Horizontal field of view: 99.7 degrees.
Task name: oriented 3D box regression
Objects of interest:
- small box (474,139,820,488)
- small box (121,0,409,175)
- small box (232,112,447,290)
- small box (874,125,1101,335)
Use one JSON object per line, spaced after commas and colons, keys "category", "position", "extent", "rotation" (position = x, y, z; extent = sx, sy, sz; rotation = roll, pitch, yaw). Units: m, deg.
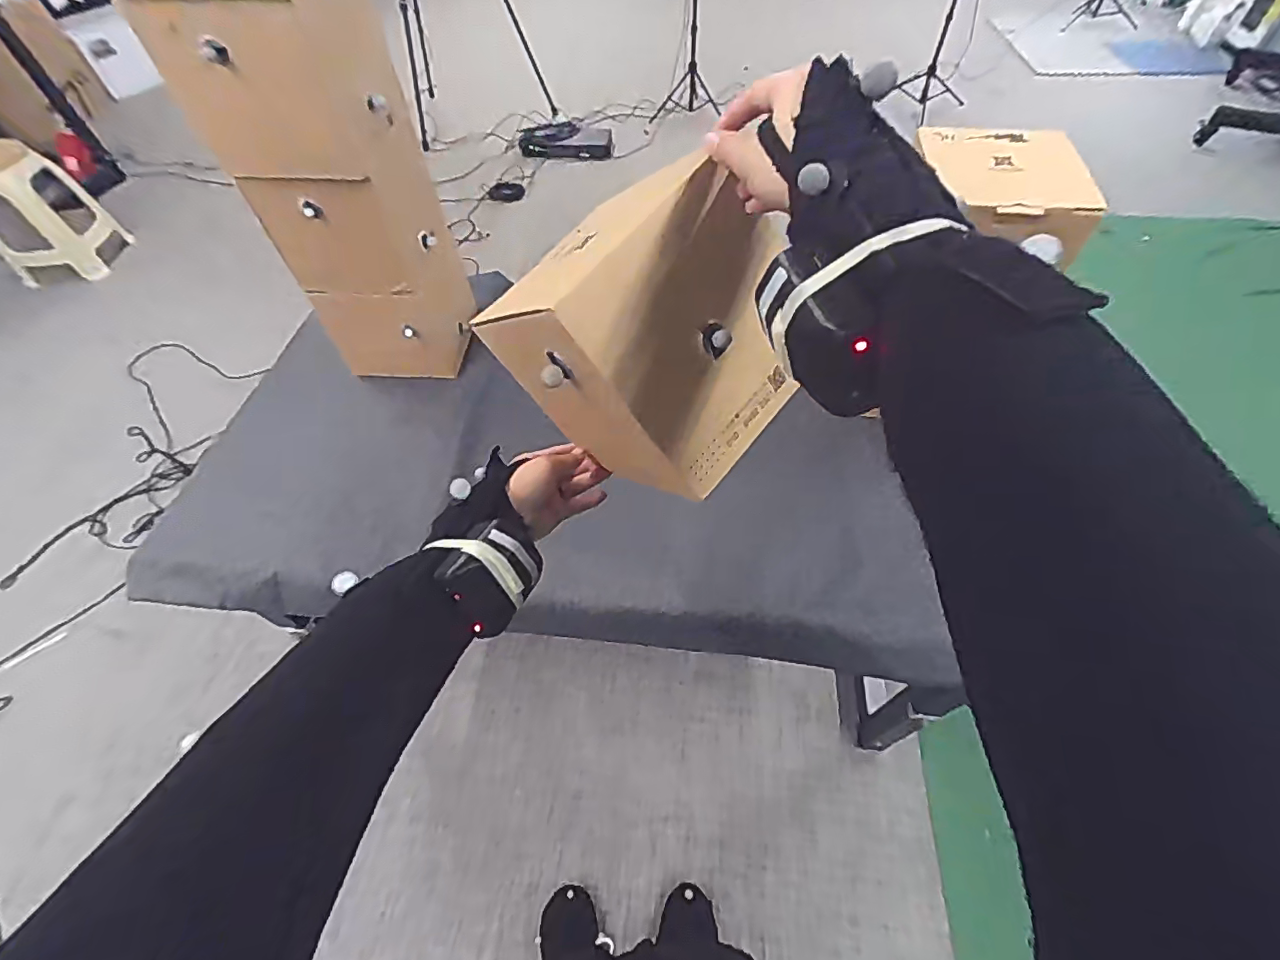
{"category": "small box", "position": [0.007, -0.114, 0.424], "extent": [0.168, 0.176, 0.179], "rotation": [-48, 30, -14]}
{"category": "small box", "position": [-0.395, -0.467, 0.606], "extent": [0.179, 0.176, 0.168], "rotation": [4, 57, 3]}
{"category": "small box", "position": [-0.393, -0.382, 0.747], "extent": [0.179, 0.176, 0.168], "rotation": [2, 57, 2]}
{"category": "small box", "position": [0.399, -0.299, 0.659], "extent": [0.168, 0.176, 0.179], "rotation": [7, 58, 7]}
